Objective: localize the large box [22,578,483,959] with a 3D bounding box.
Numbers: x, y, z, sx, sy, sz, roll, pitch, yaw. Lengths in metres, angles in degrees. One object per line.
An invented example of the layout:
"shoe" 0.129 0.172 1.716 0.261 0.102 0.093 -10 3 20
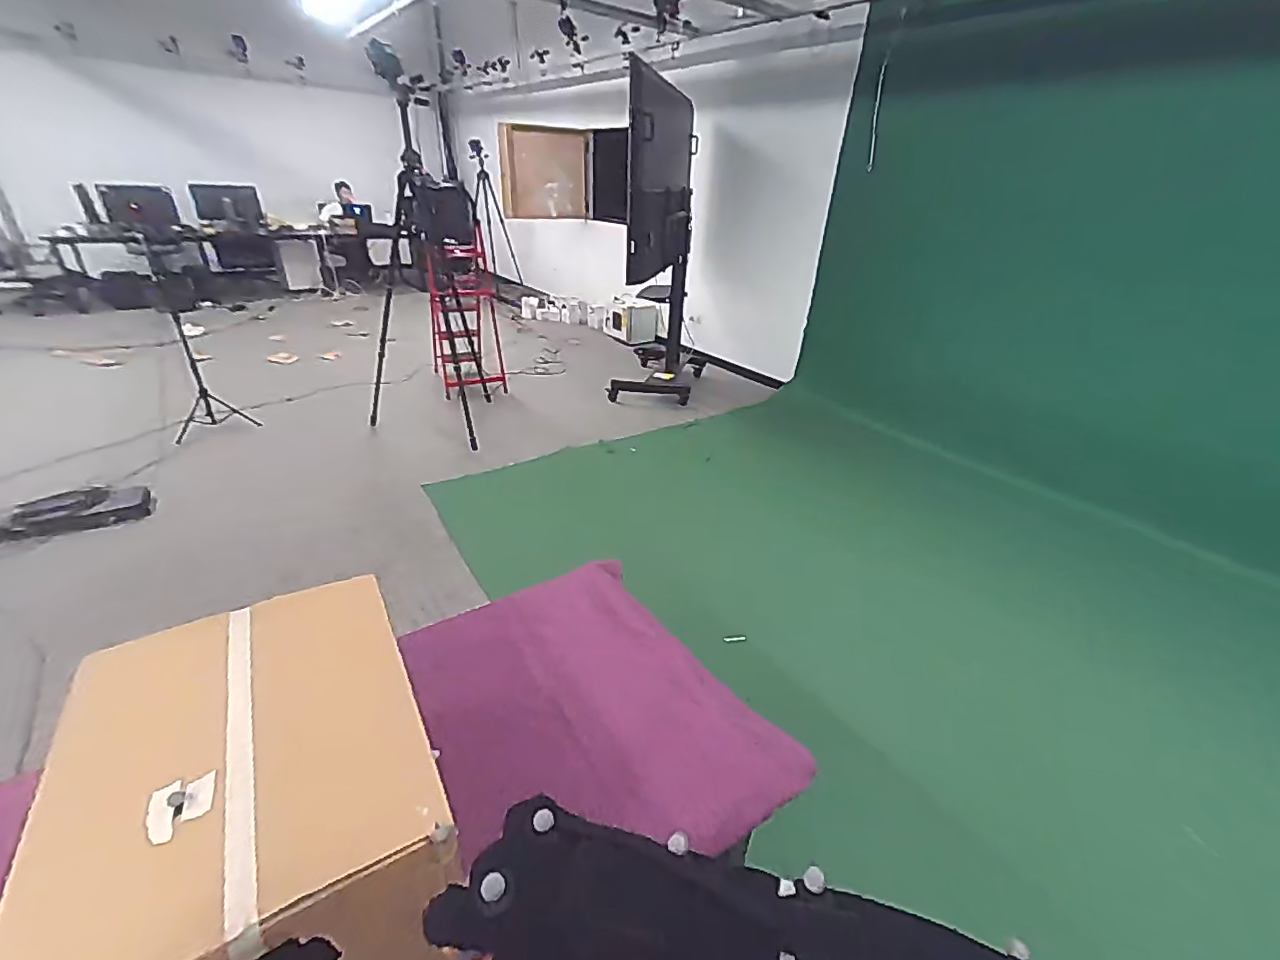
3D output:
"large box" -0.405 0.386 0.635 0.320 0.320 0.408 -14 34 -29
